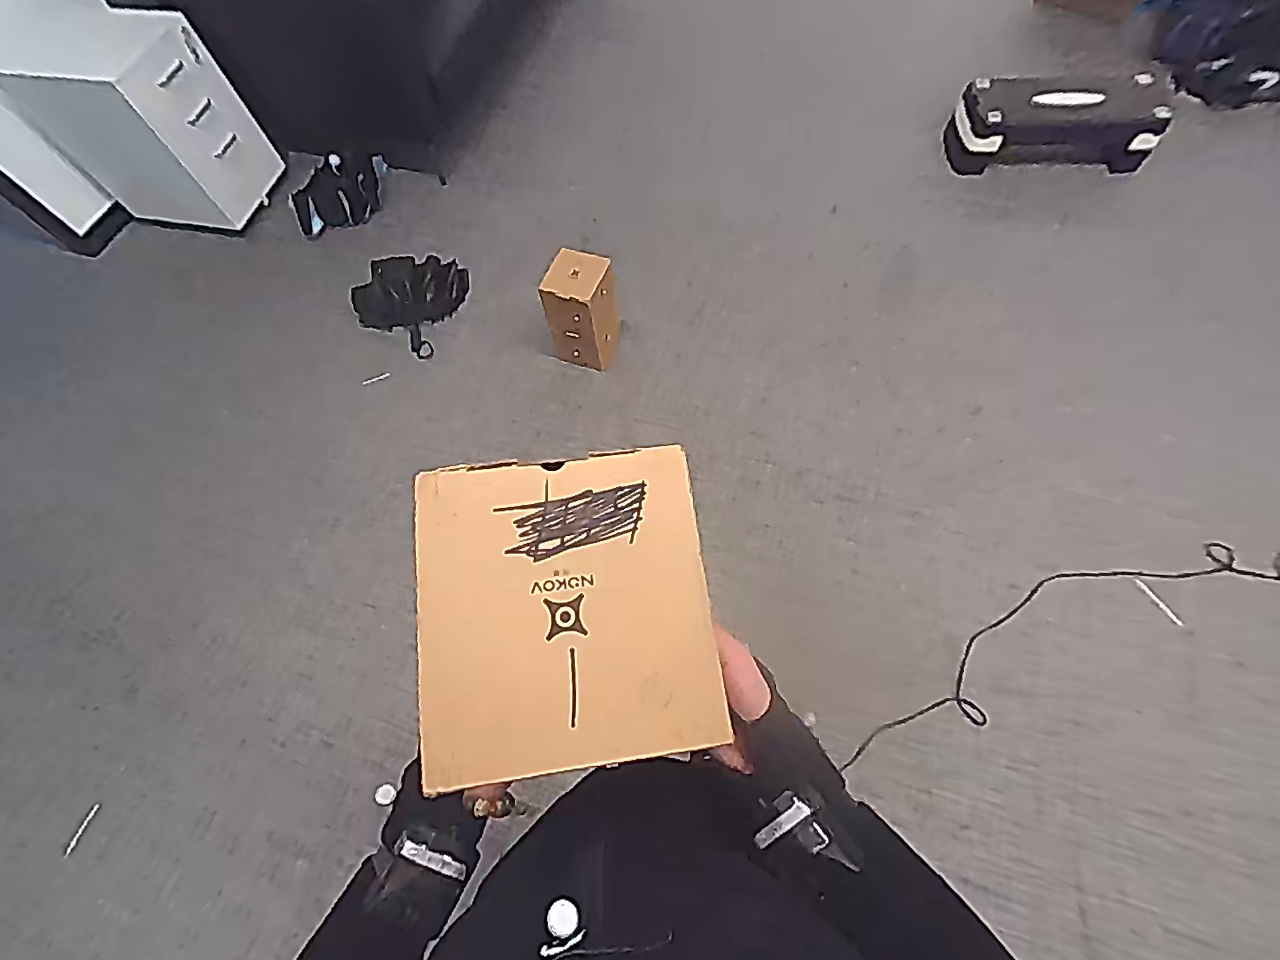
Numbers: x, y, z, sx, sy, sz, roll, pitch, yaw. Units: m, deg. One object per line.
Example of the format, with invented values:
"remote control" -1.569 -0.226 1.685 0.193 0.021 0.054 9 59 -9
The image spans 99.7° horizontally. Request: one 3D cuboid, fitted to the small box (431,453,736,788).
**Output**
"small box" -0.043 0.095 0.389 0.168 0.176 0.179 -6 74 -6
